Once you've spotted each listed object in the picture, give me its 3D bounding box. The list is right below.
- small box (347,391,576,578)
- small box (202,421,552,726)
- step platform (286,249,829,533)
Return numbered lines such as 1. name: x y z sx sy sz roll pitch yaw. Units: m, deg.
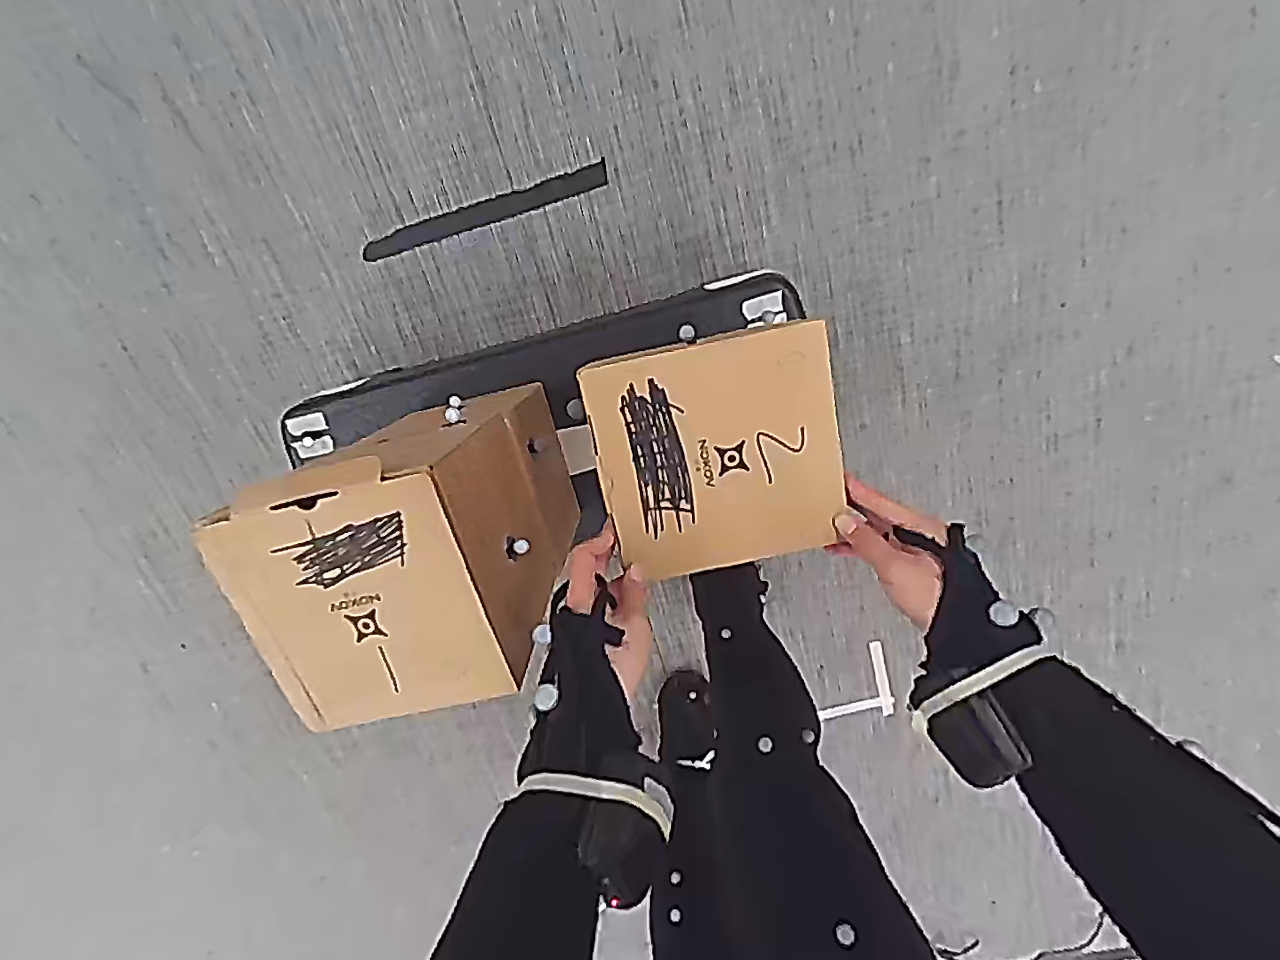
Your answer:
1. small box: -0.177 0.007 0.596 0.168 0.176 0.179 -12 109 5
2. small box: -0.182 0.059 0.440 0.168 0.176 0.179 -13 109 5
3. step platform: -0.099 -0.086 0.746 0.684 0.204 0.286 -14 108 6
